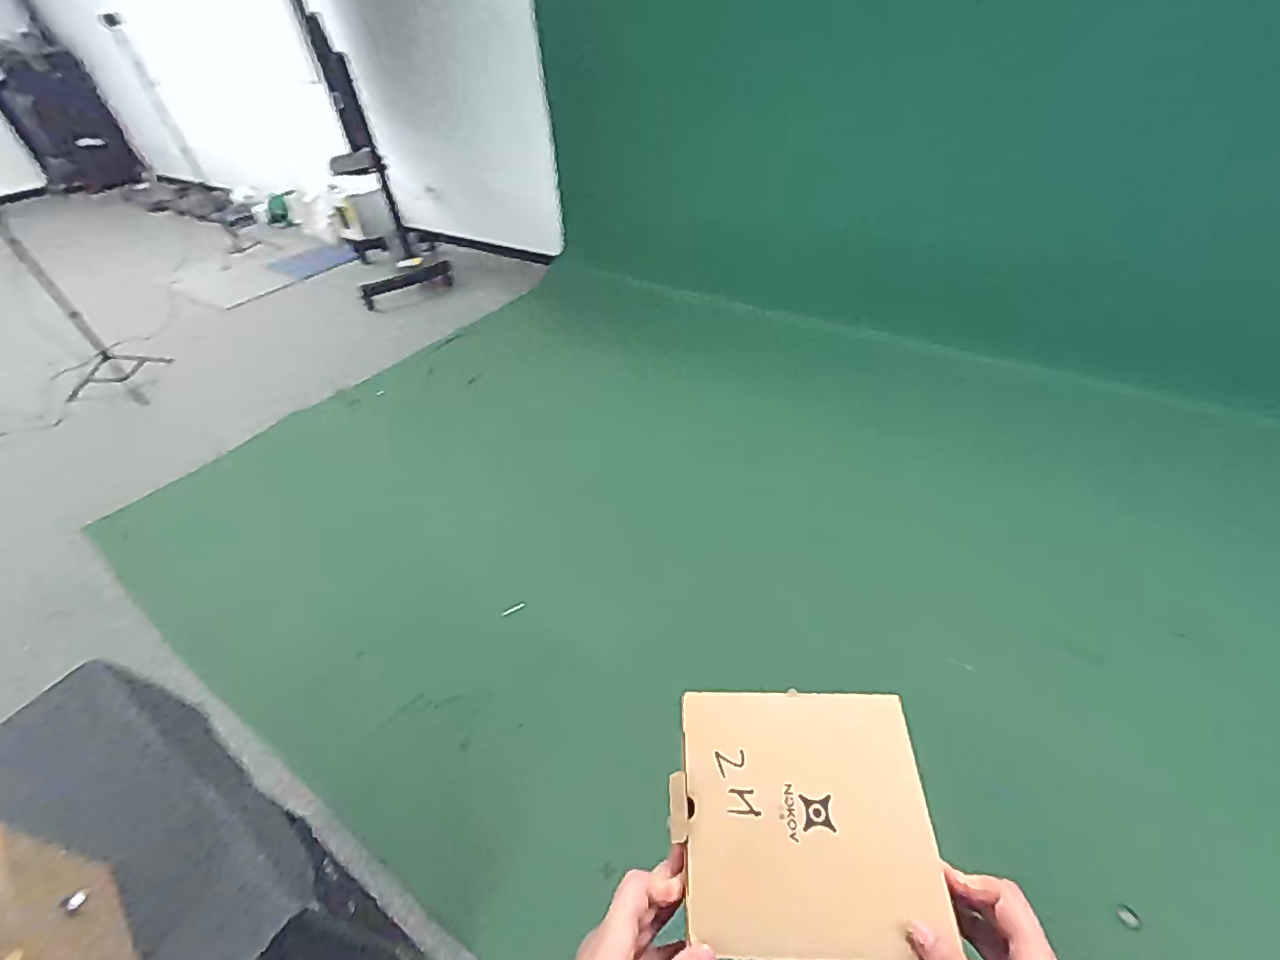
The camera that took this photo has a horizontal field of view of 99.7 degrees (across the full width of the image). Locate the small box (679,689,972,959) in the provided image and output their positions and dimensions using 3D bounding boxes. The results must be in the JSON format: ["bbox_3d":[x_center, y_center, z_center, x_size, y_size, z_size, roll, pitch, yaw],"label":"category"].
[{"bbox_3d":[0.121,0.280,0.440,0.179,0.176,0.168,-1,52,4],"label":"small box"}]

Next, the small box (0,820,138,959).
[{"bbox_3d":[-0.649,0.485,0.523,0.179,0.176,0.168,26,51,31],"label":"small box"}]
